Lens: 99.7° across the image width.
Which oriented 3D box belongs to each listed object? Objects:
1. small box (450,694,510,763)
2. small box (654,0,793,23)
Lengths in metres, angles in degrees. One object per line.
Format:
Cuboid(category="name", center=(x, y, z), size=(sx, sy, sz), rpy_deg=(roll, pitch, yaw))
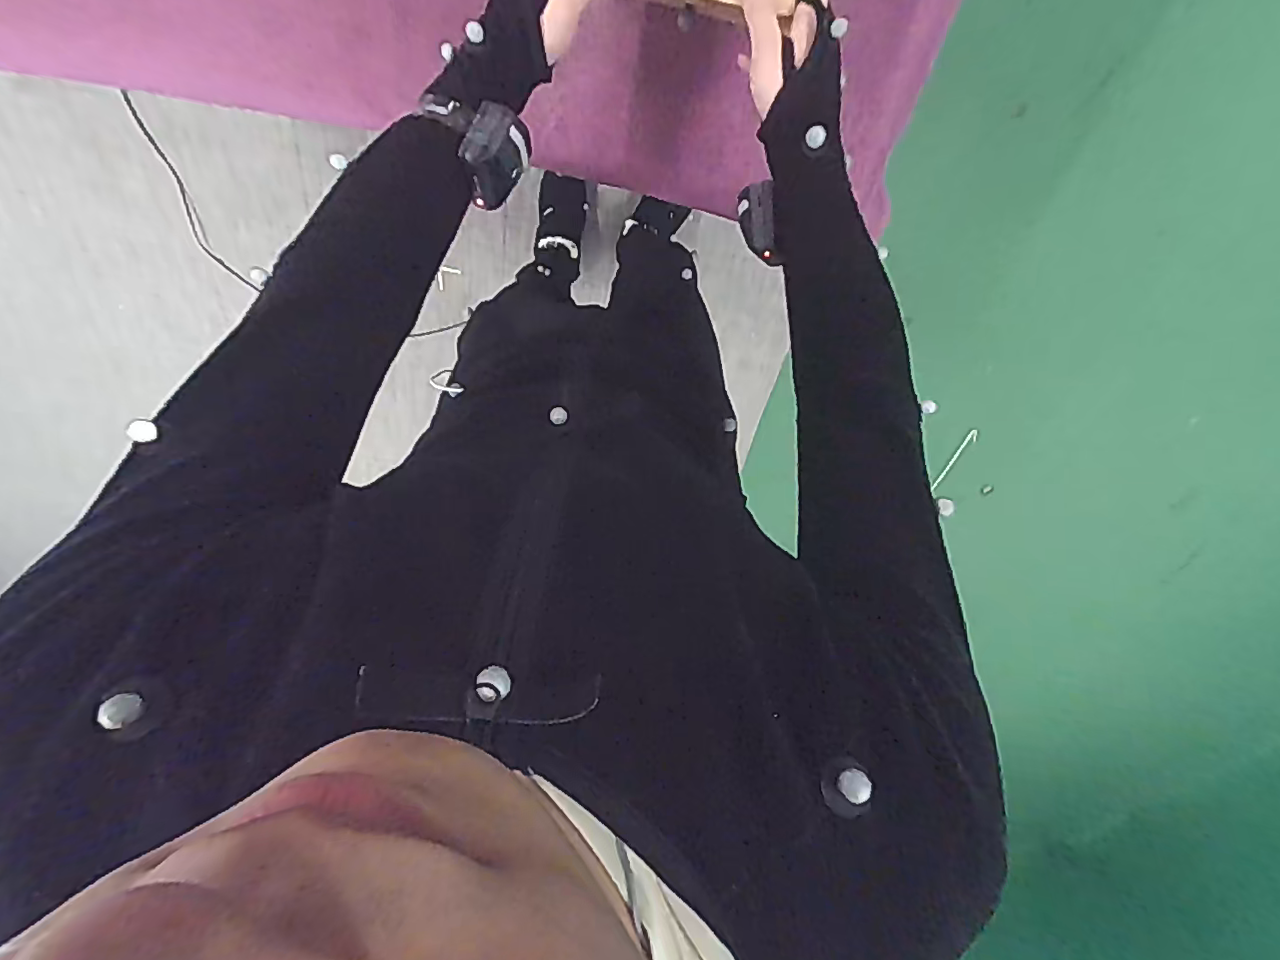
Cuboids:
Cuboid(category="small box", center=(-0.588, 0.915, 1.997), size=(0.179, 0.176, 0.168), rpy_deg=(12, 128, -3))
Cuboid(category="small box", center=(0.054, -0.503, 0.447), size=(0.179, 0.176, 0.168), rpy_deg=(10, 128, -4))
